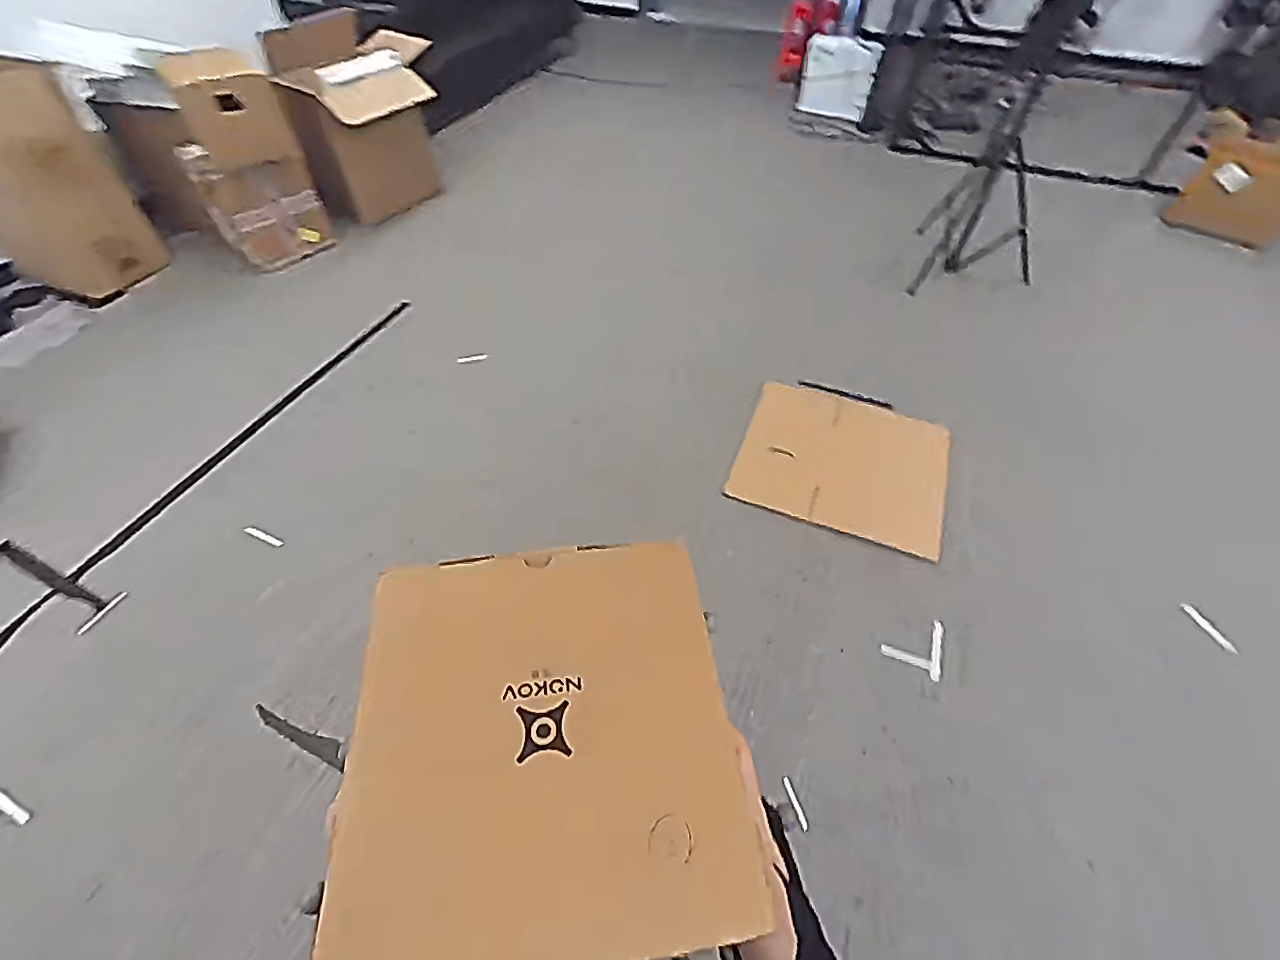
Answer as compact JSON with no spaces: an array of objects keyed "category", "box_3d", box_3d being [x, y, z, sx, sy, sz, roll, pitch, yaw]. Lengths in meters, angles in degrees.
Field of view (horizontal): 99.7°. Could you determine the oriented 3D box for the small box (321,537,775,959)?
[{"category":"small box","box_3d":[-0.043,0.155,0.301,0.168,0.176,0.179,-5,52,-7]}]
